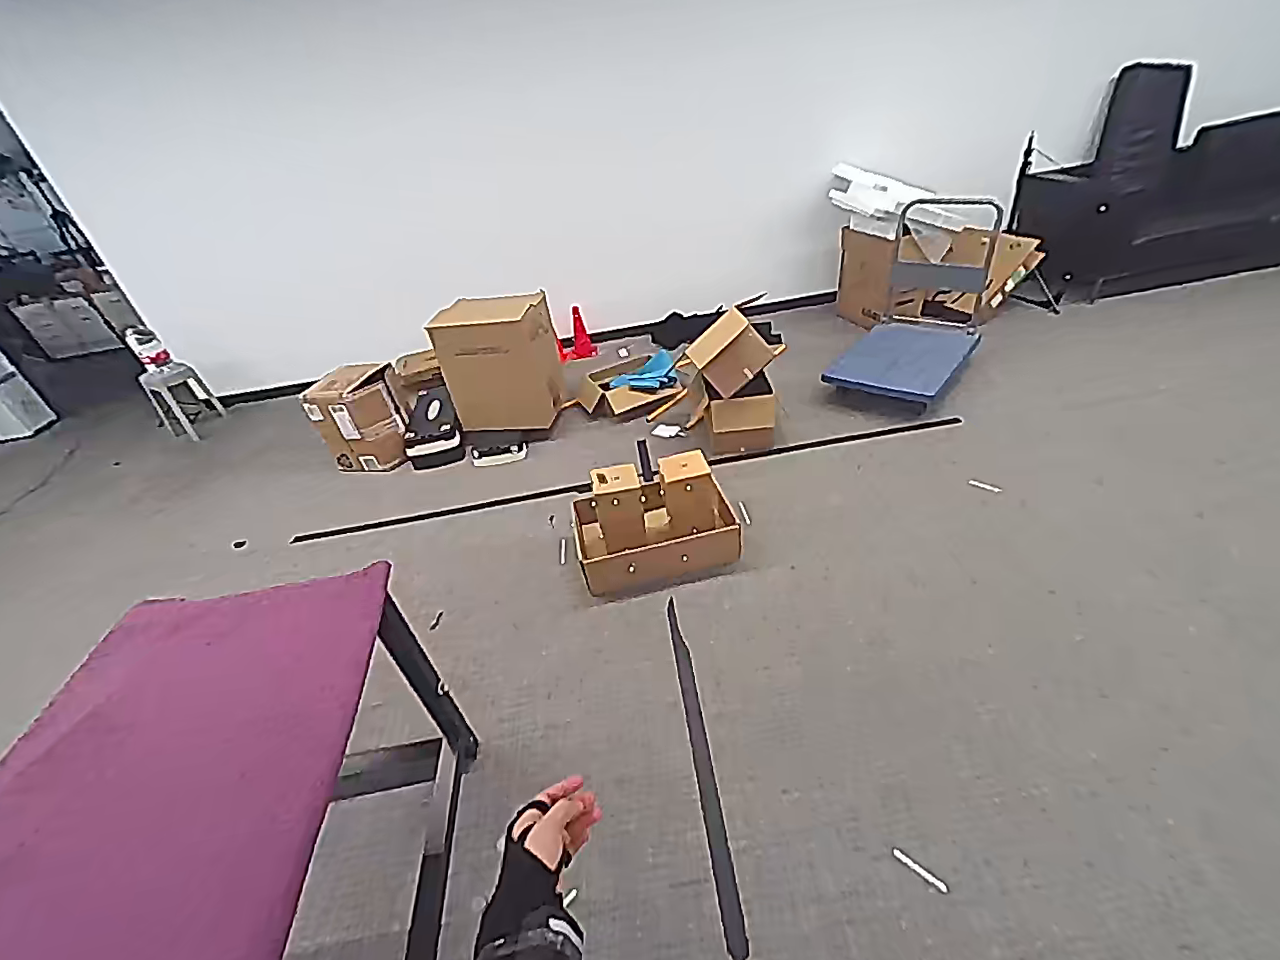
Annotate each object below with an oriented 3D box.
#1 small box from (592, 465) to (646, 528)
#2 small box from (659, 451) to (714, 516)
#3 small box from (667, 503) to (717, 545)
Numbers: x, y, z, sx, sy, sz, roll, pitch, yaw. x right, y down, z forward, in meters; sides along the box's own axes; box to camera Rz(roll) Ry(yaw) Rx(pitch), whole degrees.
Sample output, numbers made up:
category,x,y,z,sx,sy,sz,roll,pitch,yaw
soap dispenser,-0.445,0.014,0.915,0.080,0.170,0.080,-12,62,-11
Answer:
category,x,y,z,sx,sy,sz,roll,pitch,yaw
small box,-0.081,0.065,2.074,0.179,0.176,0.168,-10,35,-4
small box,0.182,0.016,2.085,0.179,0.176,0.168,-13,35,-3
small box,0.207,0.145,2.180,0.168,0.176,0.179,-12,34,-4
